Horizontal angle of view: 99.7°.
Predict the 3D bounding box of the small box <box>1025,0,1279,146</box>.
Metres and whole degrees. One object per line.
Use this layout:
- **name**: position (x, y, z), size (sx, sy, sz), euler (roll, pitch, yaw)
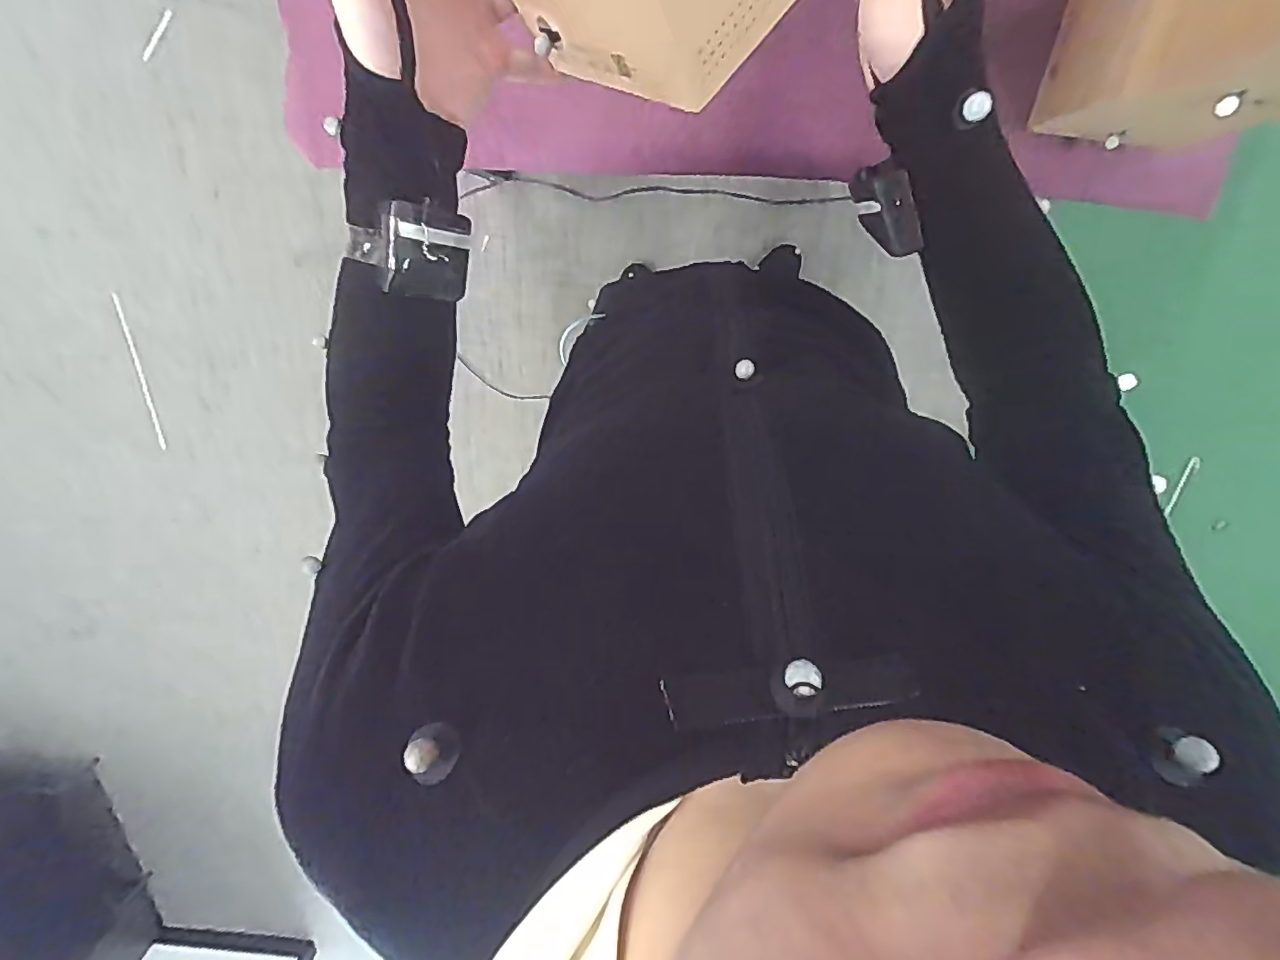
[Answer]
- **small box**: position (0.577, -0.478, 0.586), size (0.179, 0.176, 0.168), euler (8, 112, 1)
